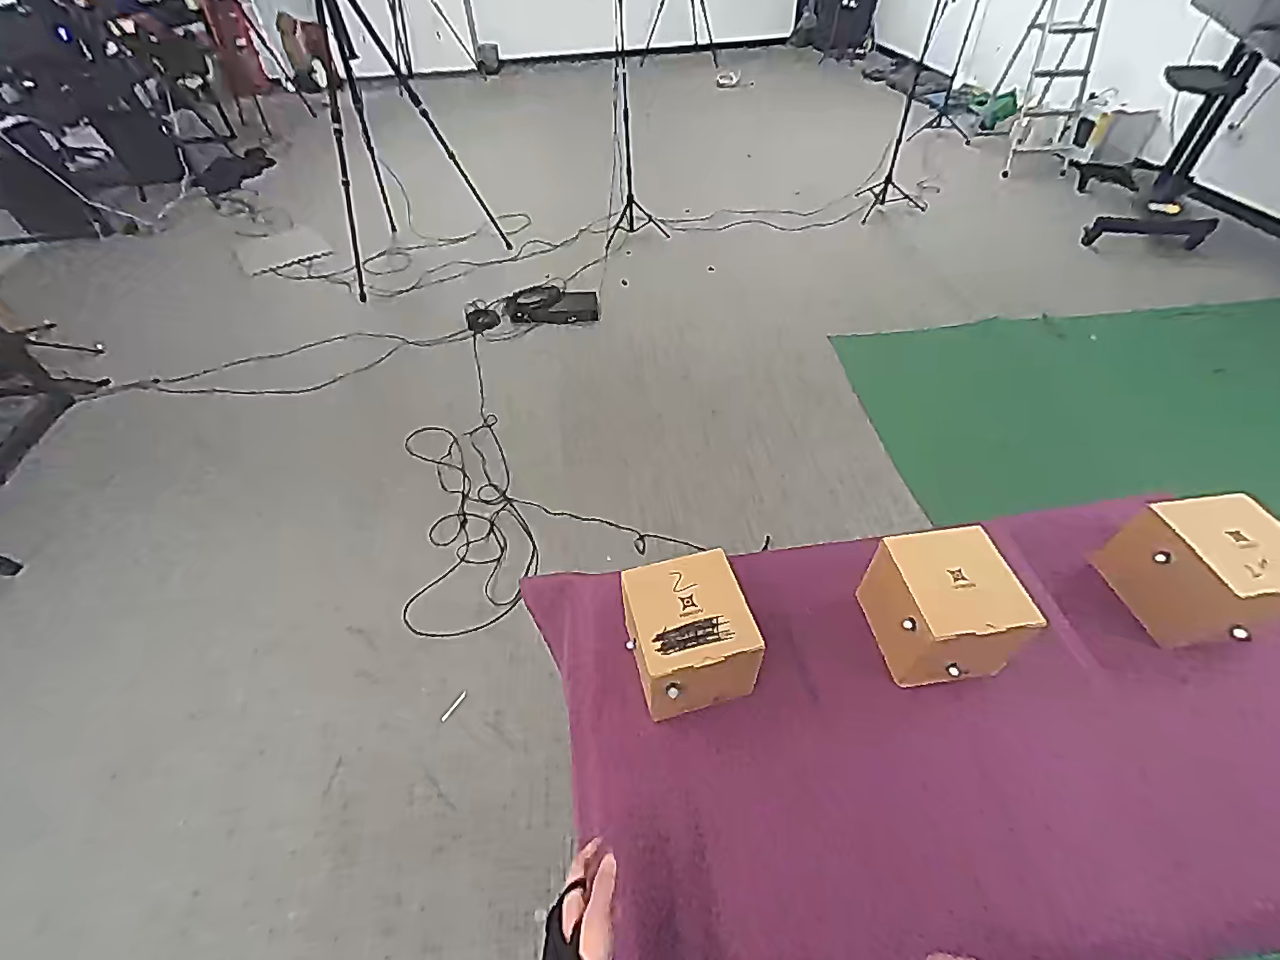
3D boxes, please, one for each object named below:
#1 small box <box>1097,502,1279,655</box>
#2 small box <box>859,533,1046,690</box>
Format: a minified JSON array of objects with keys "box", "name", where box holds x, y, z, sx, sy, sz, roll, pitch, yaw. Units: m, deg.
[{"box":[0.911,0.160,0.878,0.168,0.176,0.179,-6,48,-2],"name":"small box"},{"box":[0.473,0.209,0.857,0.168,0.176,0.179,-6,49,-4],"name":"small box"}]
